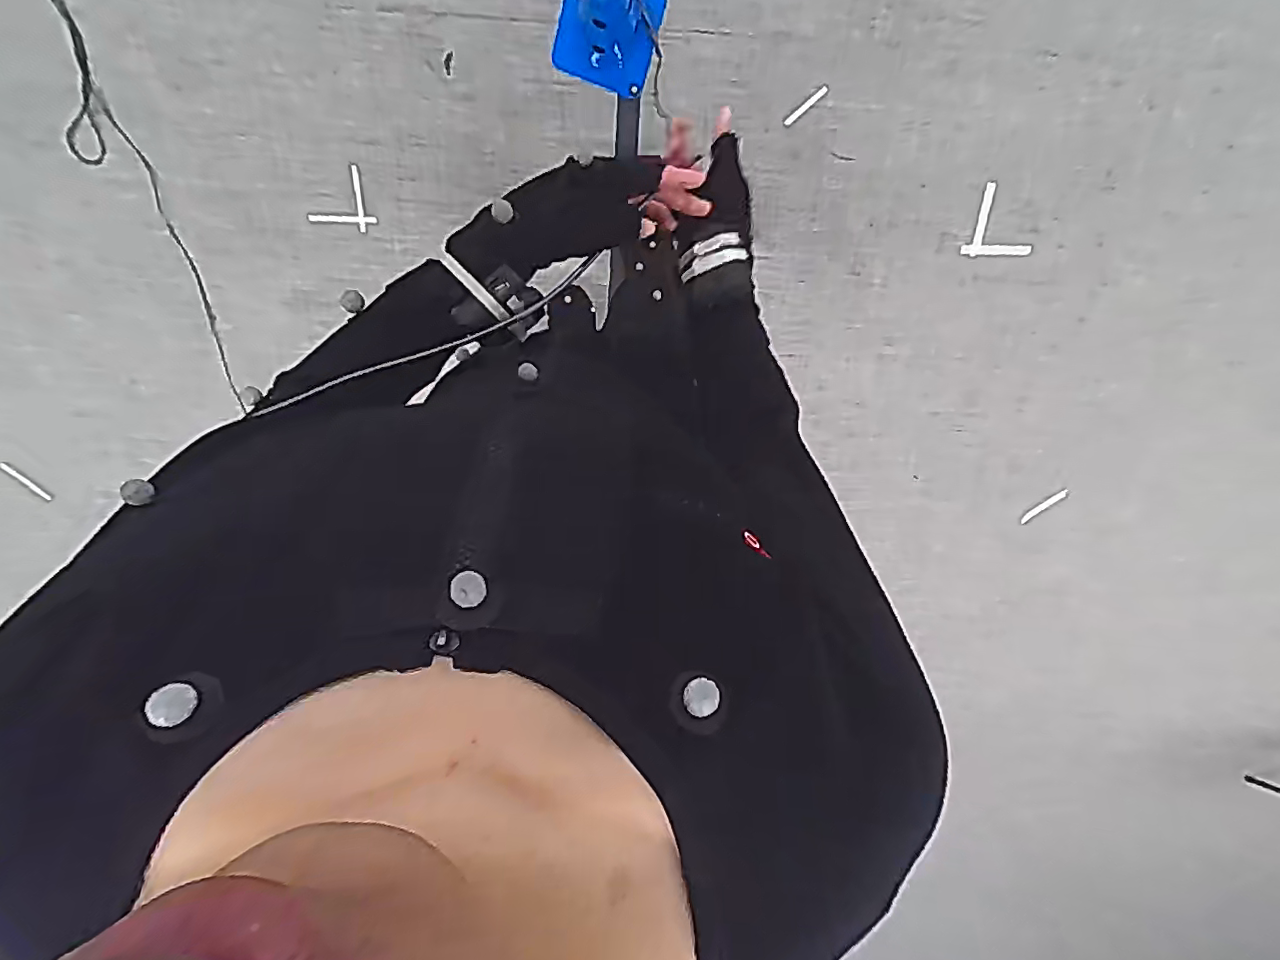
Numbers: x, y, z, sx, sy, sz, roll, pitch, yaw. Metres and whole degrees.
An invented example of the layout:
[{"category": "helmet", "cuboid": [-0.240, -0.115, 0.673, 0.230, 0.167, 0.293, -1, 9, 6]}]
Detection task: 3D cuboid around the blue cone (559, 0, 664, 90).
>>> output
[{"category": "blue cone", "cuboid": [-0.052, -0.865, 0.961, 0.192, 0.380, 0.193, 17, 113, -11]}]
